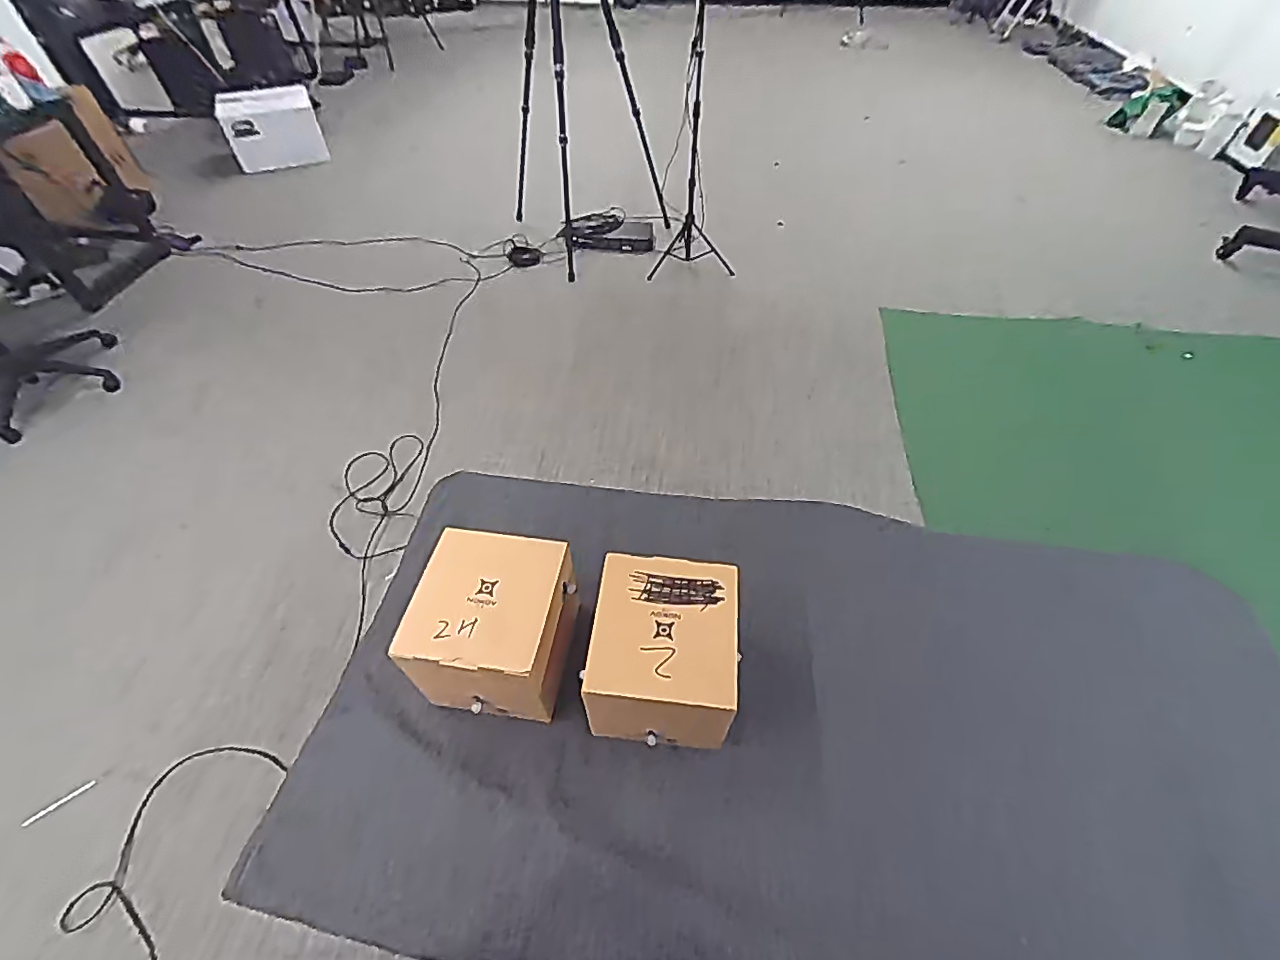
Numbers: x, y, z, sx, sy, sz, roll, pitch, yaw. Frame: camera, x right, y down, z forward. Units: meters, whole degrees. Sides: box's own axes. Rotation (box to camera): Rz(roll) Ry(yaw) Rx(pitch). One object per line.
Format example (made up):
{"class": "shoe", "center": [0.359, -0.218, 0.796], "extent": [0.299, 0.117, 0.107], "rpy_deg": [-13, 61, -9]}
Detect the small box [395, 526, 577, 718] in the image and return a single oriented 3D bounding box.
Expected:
{"class": "small box", "center": [-0.182, 0.186, 0.706], "extent": [0.168, 0.176, 0.179], "rpy_deg": [6, 50, 6]}
